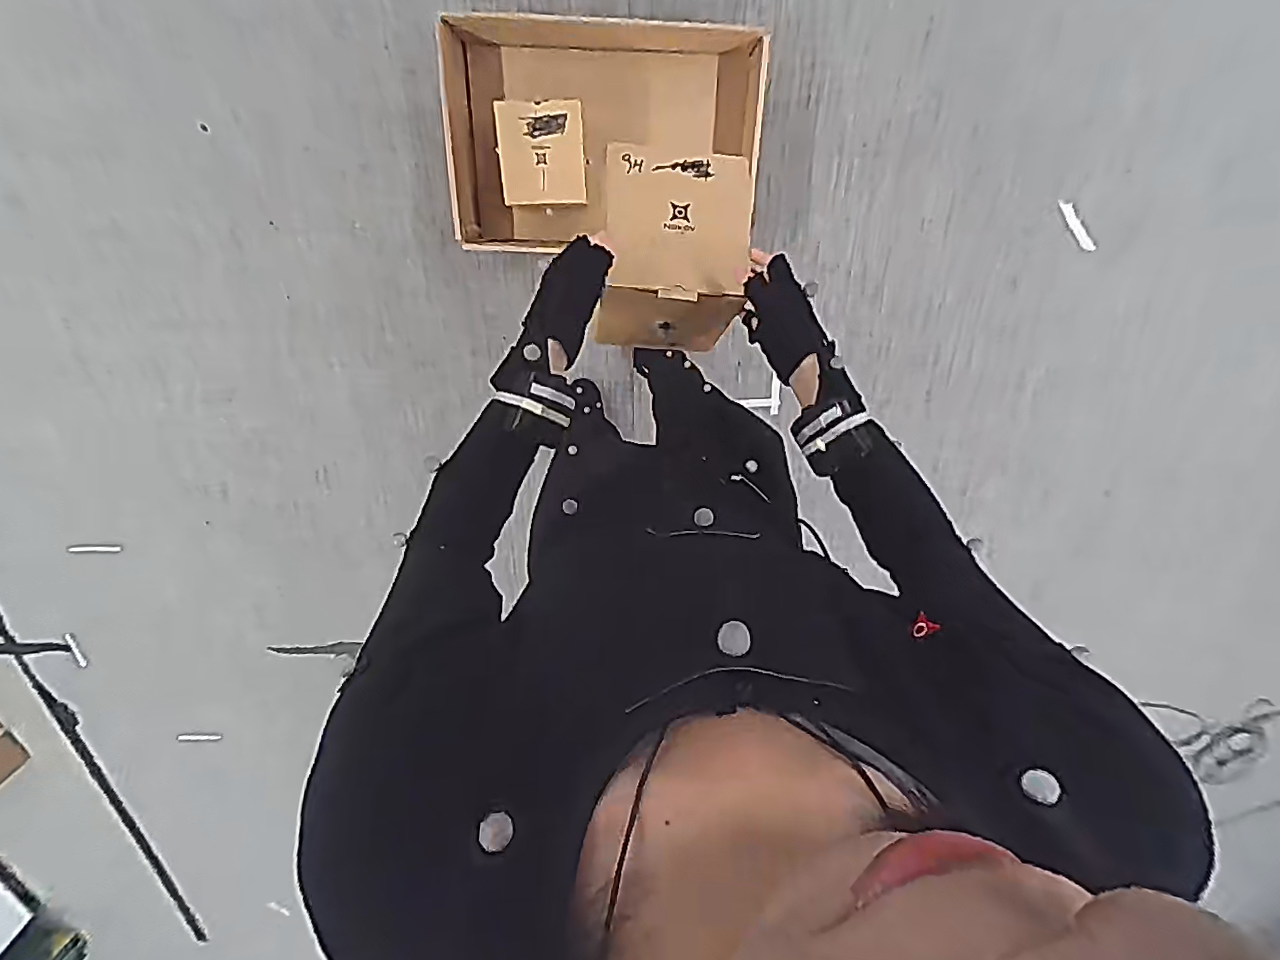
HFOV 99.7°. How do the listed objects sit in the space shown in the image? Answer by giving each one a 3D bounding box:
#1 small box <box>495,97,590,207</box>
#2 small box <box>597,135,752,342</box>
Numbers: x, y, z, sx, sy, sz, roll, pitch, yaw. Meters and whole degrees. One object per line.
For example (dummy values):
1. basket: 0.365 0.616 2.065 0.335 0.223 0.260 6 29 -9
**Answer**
1. small box: -0.192 -0.664 1.111 0.168 0.176 0.179 -2 115 -2
2. small box: 0.034 -0.285 0.678 0.168 0.176 0.179 2 84 -8
